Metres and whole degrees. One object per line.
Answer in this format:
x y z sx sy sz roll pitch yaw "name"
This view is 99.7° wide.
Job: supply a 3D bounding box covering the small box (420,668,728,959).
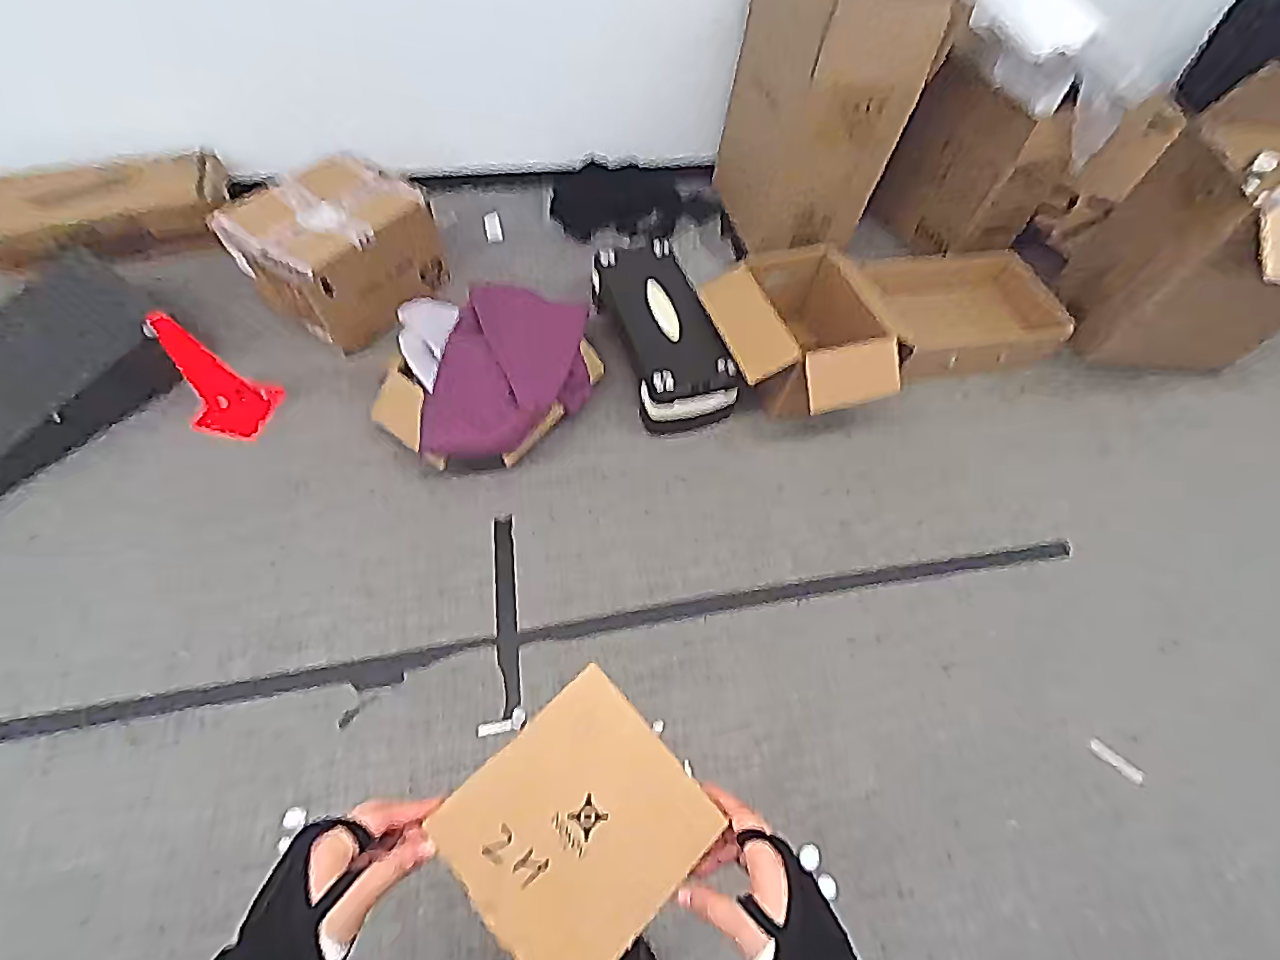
-0.056 0.290 0.478 0.179 0.176 0.168 -39 78 -19 "small box"
